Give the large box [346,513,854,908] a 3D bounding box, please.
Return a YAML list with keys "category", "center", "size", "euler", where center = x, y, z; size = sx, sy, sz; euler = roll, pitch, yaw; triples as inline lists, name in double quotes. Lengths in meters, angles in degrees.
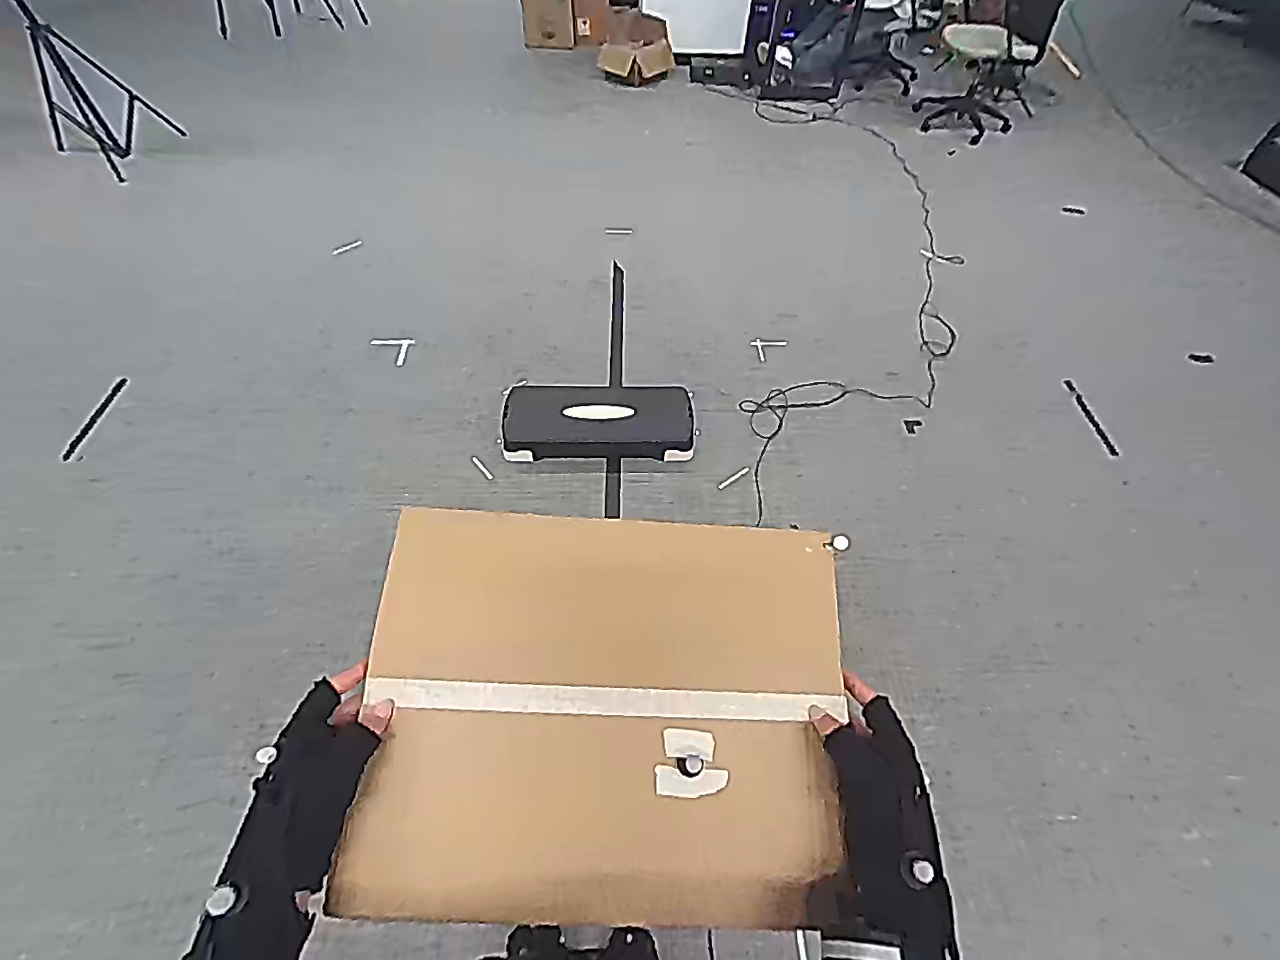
- category: "large box"
  center: [-0.034, 0.236, 0.607]
  size: [0.408, 0.320, 0.320]
  euler: [4, 70, -4]
